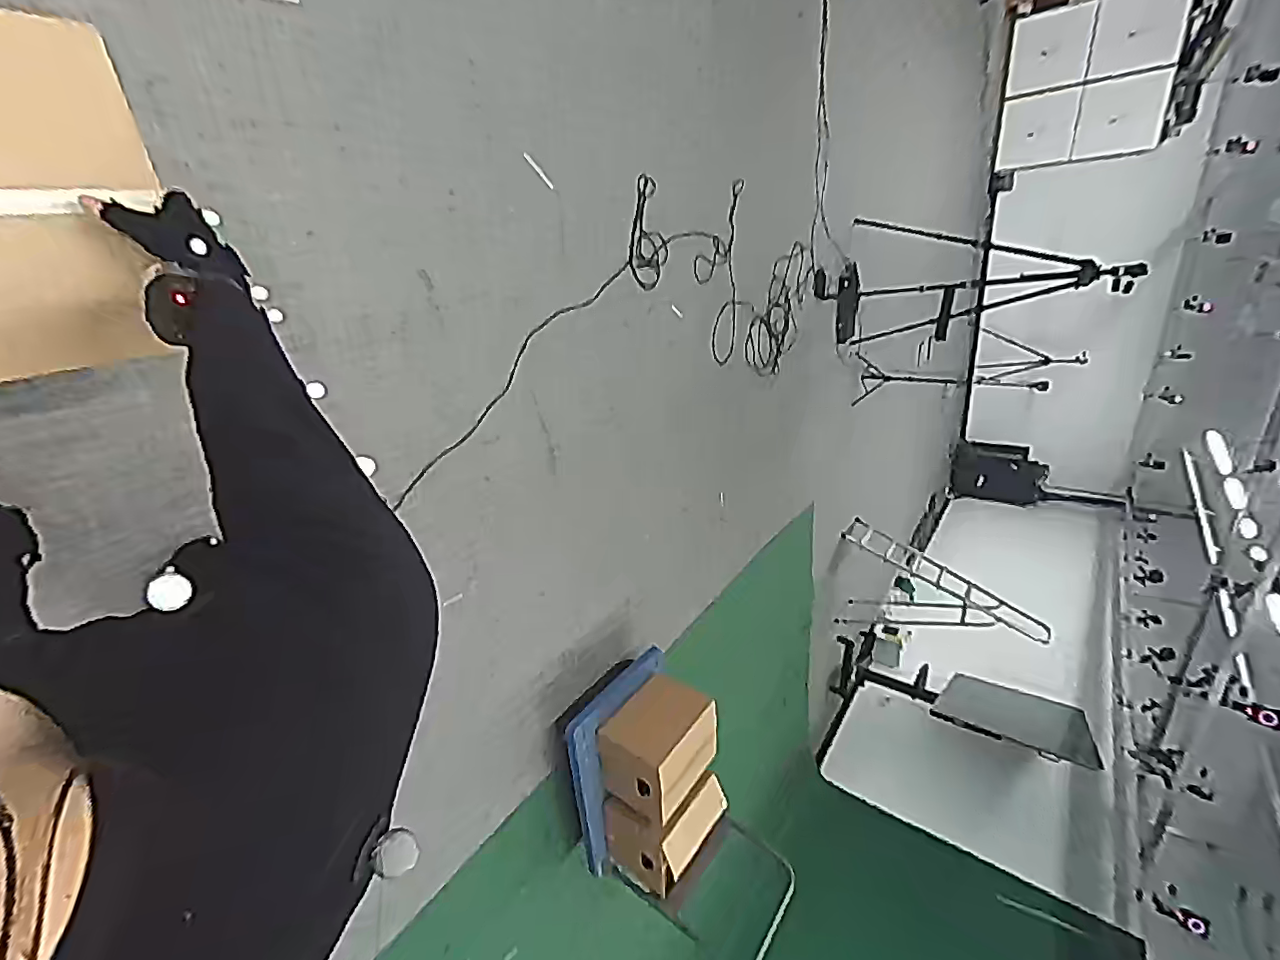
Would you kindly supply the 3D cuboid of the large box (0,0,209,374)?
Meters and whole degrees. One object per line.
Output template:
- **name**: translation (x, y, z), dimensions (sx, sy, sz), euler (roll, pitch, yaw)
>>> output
- **large box**: translation (-0.757, -0.271, 0.526), dimensions (0.408, 0.320, 0.320), euler (-32, 129, -44)
